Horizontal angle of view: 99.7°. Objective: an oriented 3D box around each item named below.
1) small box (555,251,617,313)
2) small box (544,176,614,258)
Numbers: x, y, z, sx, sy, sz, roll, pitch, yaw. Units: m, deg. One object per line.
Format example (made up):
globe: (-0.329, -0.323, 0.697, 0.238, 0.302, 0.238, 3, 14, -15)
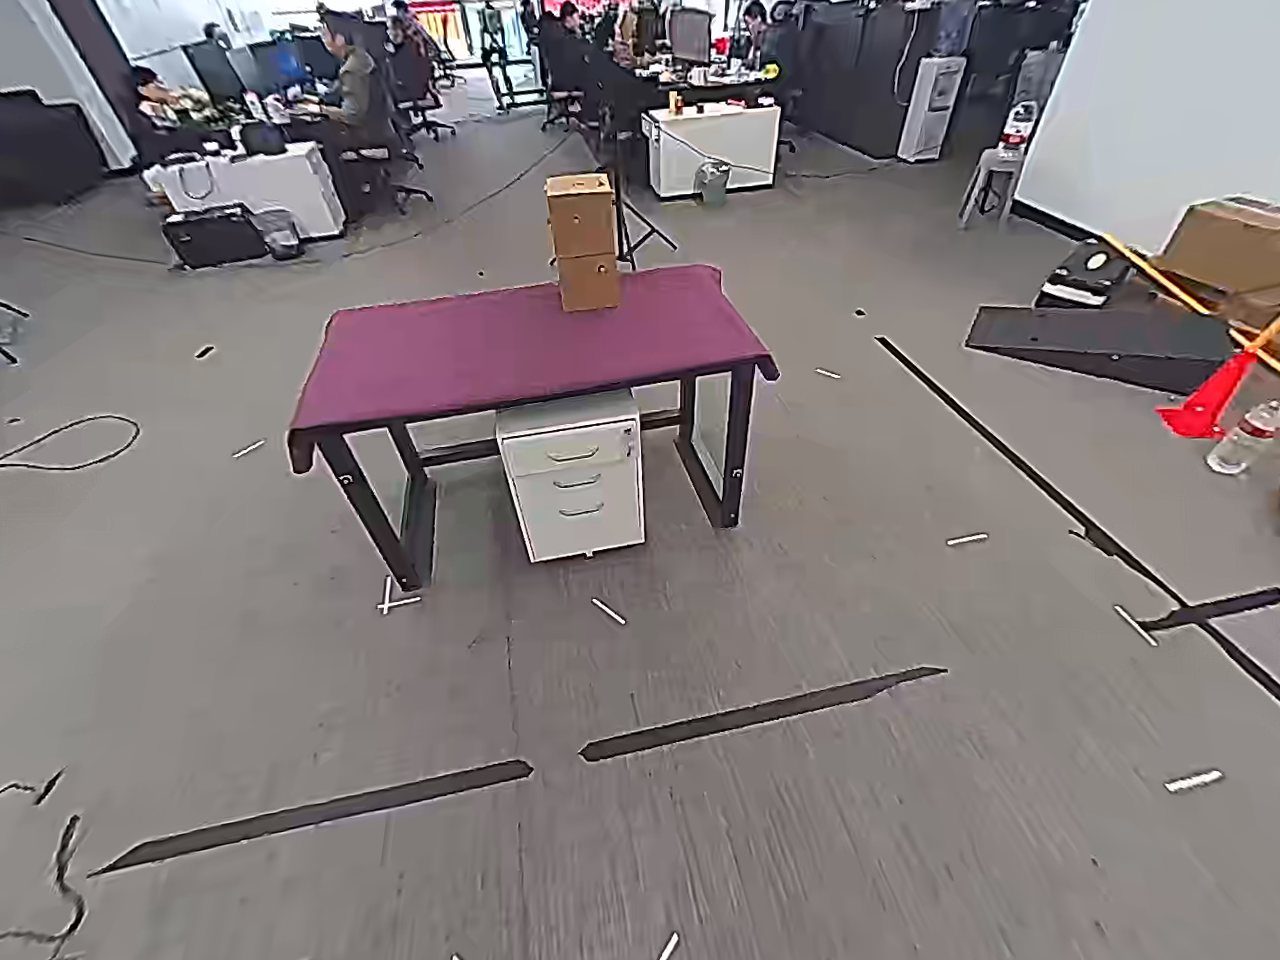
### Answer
small box: (-0.166, -0.635, 1.670, 0.179, 0.176, 0.168, -8, 44, -4)
small box: (-0.175, -0.753, 1.556, 0.179, 0.176, 0.168, -8, 45, -3)
